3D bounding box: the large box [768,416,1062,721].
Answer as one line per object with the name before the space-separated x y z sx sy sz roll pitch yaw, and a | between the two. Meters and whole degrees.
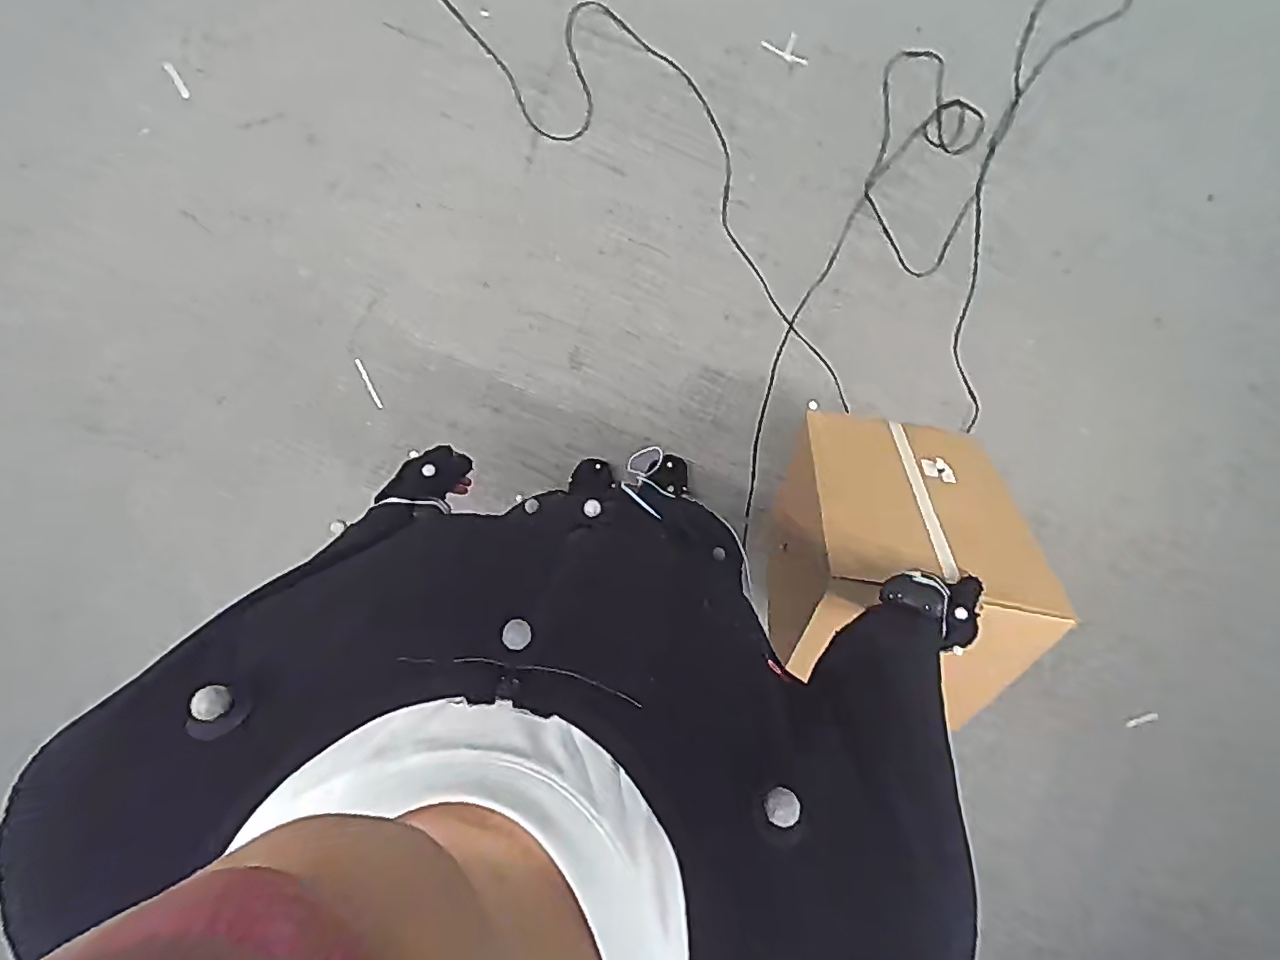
large box | 0.413 0.142 0.948 0.320 0.408 0.320 10 131 3
